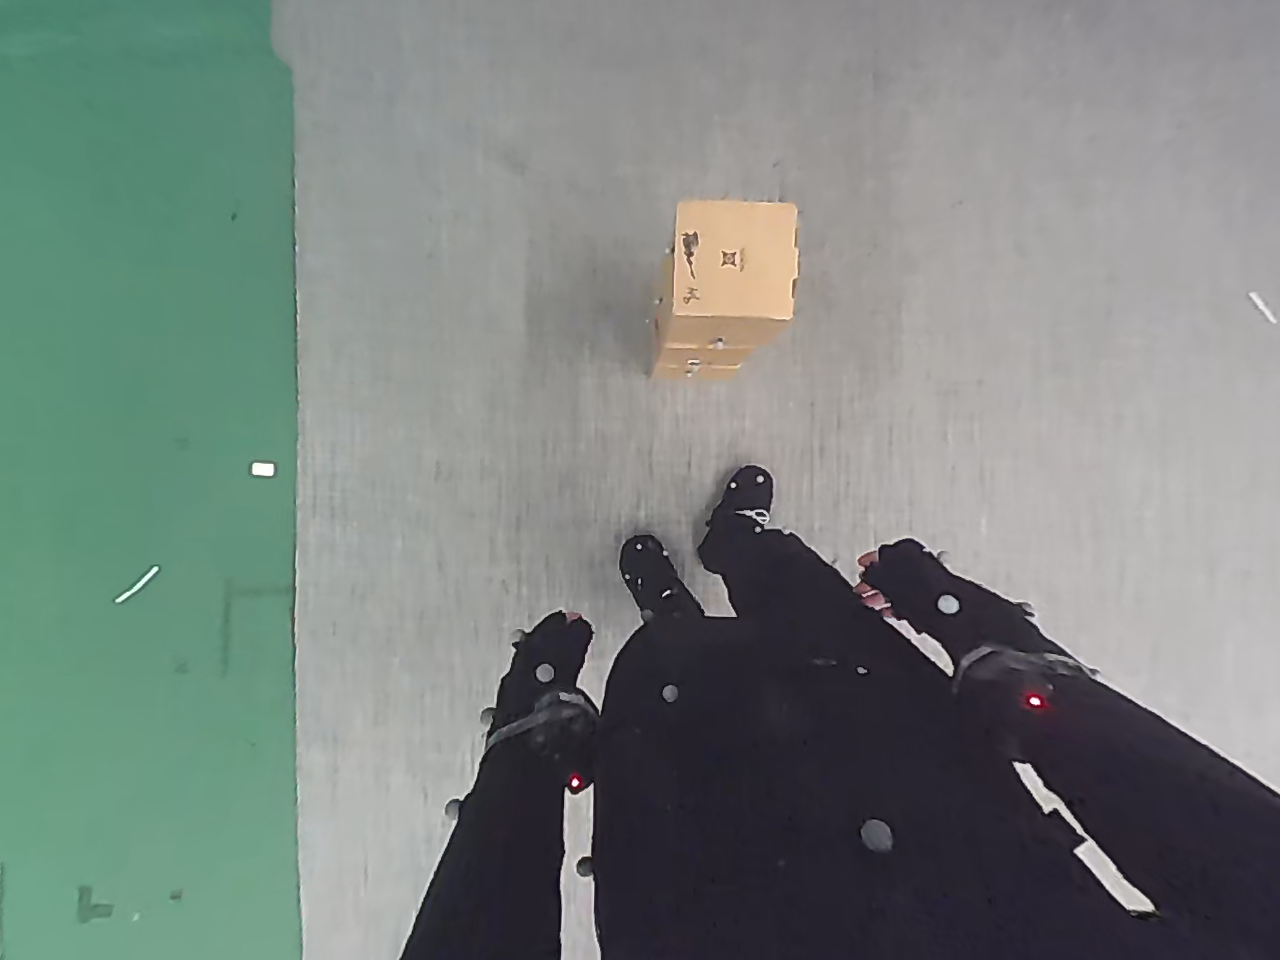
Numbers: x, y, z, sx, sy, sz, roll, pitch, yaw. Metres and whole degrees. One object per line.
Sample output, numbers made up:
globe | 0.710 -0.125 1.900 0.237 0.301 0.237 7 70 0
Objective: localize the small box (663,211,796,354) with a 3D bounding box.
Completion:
small box | 0.133 -0.301 0.859 0.179 0.176 0.168 2 90 -1

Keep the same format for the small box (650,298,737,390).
small box | 0.113 -0.295 1.200 0.179 0.176 0.168 1 91 -3

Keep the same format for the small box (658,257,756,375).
small box | 0.121 -0.302 1.022 0.168 0.176 0.179 0 91 -1
